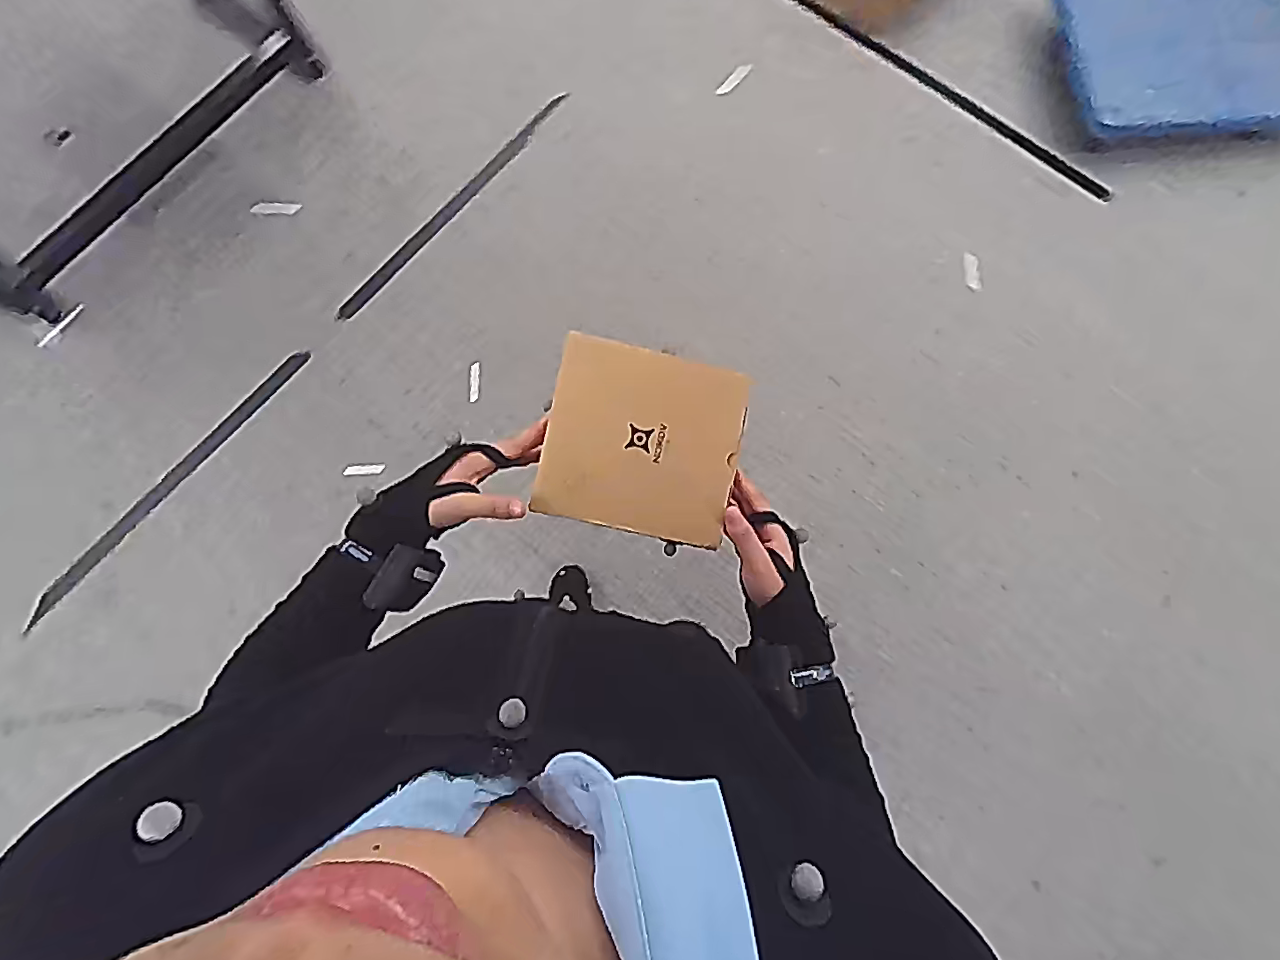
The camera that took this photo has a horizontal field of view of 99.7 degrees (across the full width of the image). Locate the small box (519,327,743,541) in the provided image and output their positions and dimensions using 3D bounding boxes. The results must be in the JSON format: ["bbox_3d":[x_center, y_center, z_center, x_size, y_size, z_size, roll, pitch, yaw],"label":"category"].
[{"bbox_3d":[-0.014,-0.035,0.558,0.179,0.176,0.168,11,85,-6],"label":"small box"}]
